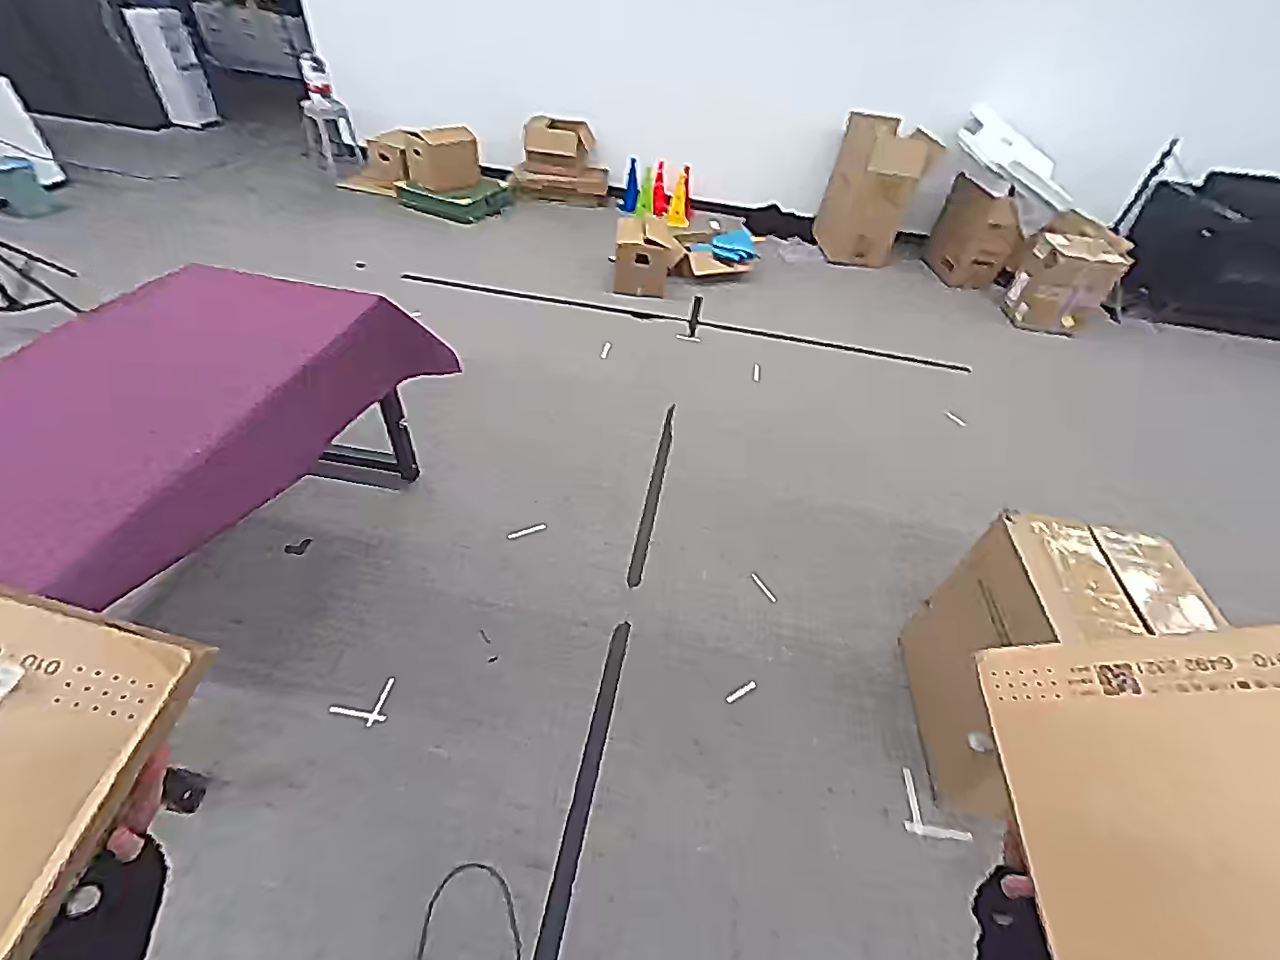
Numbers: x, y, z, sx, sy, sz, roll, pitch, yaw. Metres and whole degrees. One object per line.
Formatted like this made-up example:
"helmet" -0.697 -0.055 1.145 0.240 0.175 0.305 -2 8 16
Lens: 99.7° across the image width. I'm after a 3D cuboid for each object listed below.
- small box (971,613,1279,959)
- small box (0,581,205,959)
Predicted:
"small box" 0.297 0.178 0.288 0.168 0.179 0.176 -17 53 28
"small box" -0.340 0.131 0.248 0.168 0.179 0.176 28 61 -25
